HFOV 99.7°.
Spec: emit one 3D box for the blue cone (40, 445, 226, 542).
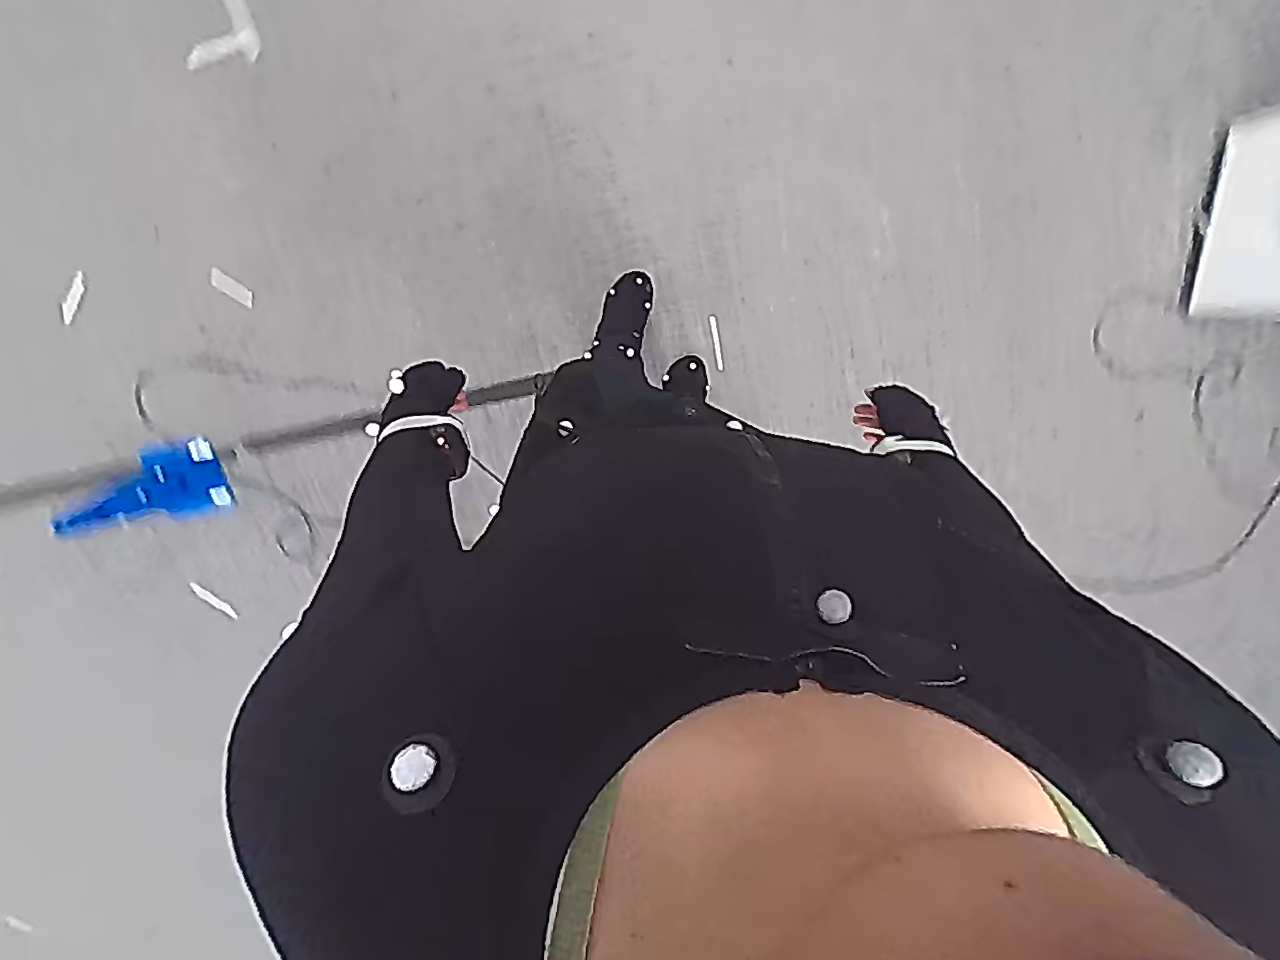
[{"bbox_3d":[-1.228,0.056,1.303,0.192,0.380,0.193,-13,108,3],"label":"blue cone"}]
